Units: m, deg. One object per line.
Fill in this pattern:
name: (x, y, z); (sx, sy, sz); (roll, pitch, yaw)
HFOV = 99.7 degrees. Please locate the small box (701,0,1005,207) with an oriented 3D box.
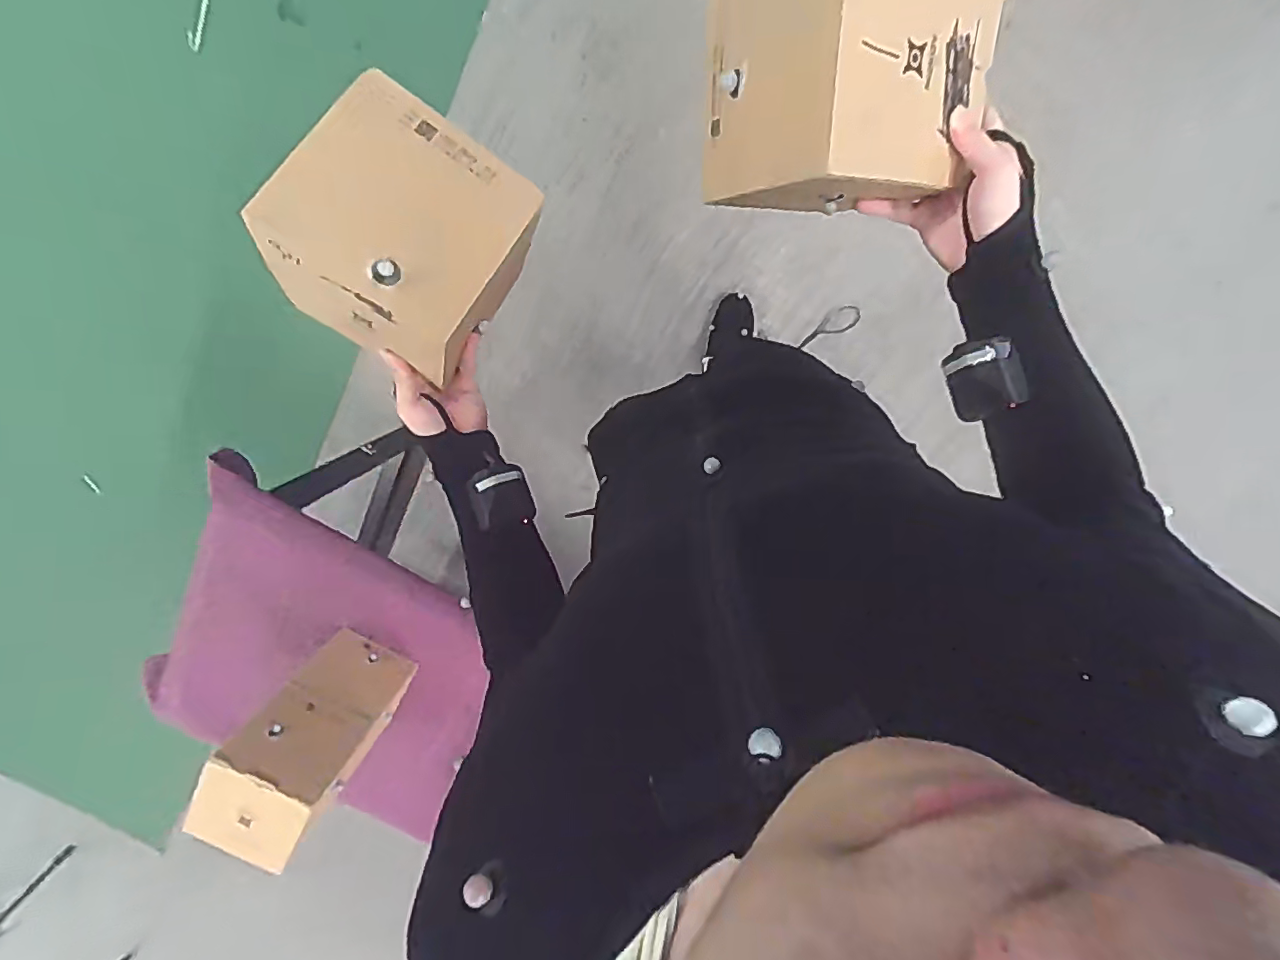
small box: (0.174, -0.343, 0.472); (0.179, 0.176, 0.168); (-10, 111, -24)

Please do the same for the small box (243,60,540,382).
small box: (-0.214, -0.224, 0.509); (0.168, 0.179, 0.176); (32, 74, -15)

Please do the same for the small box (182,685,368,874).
small box: (-0.577, 0.473, 0.875); (0.168, 0.176, 0.179); (30, 109, -4)
